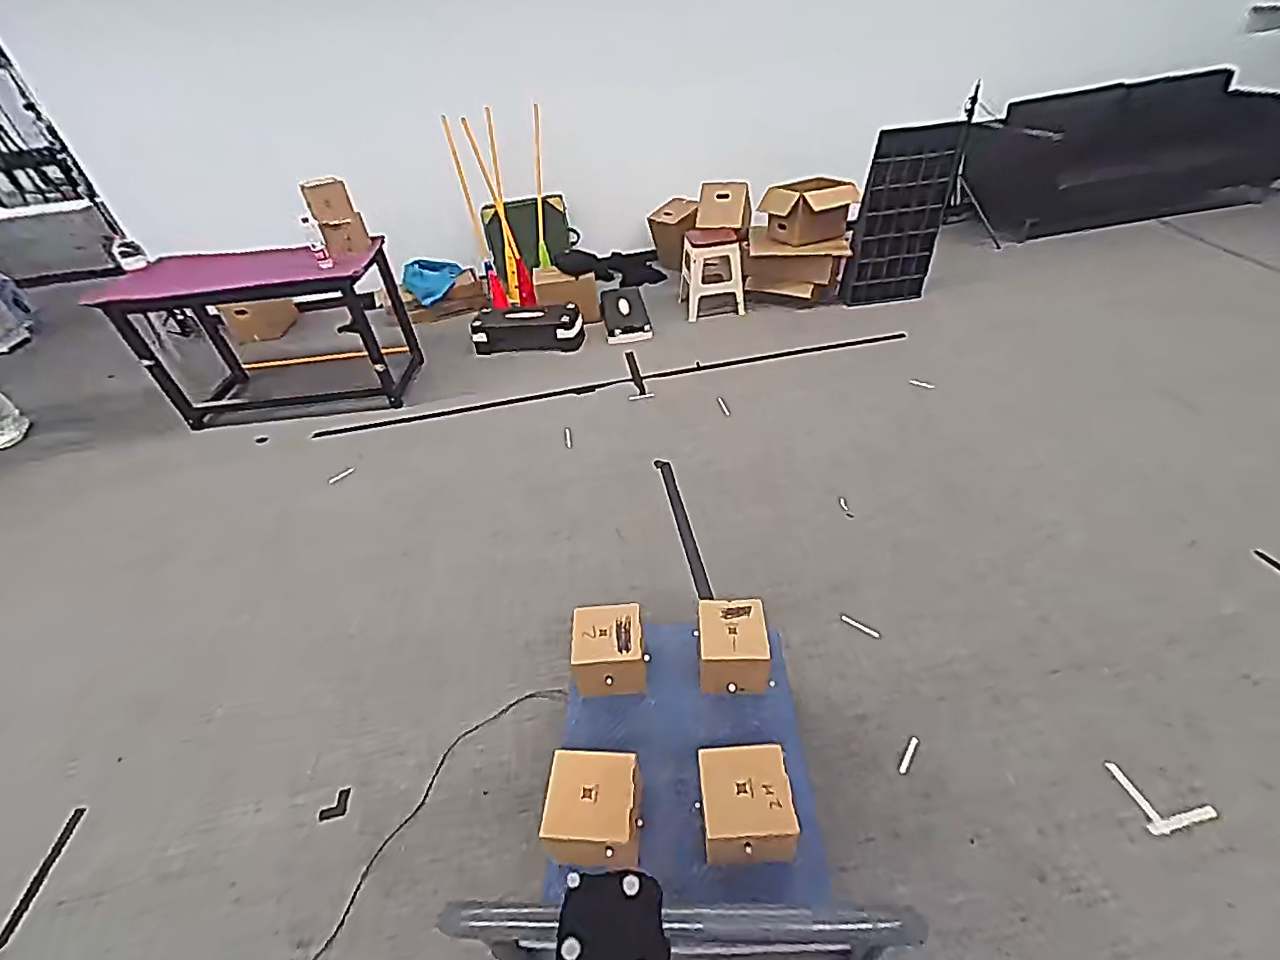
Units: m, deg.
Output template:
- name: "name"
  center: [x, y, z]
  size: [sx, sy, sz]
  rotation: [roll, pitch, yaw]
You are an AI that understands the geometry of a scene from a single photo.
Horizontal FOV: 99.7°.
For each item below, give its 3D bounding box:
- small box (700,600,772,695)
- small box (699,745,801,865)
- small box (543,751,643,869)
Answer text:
- name: "small box"
  center: [0.241, 0.432, 1.399]
  size: [0.168, 0.176, 0.179]
  rotation: [-2, 41, 4]
- name: "small box"
  center: [0.220, 0.672, 1.115]
  size: [0.179, 0.176, 0.168]
  rotation: [-5, 40, 2]
- name: "small box"
  center: [-0.089, 0.693, 1.134]
  size: [0.179, 0.176, 0.168]
  rotation: [0, 40, 5]
